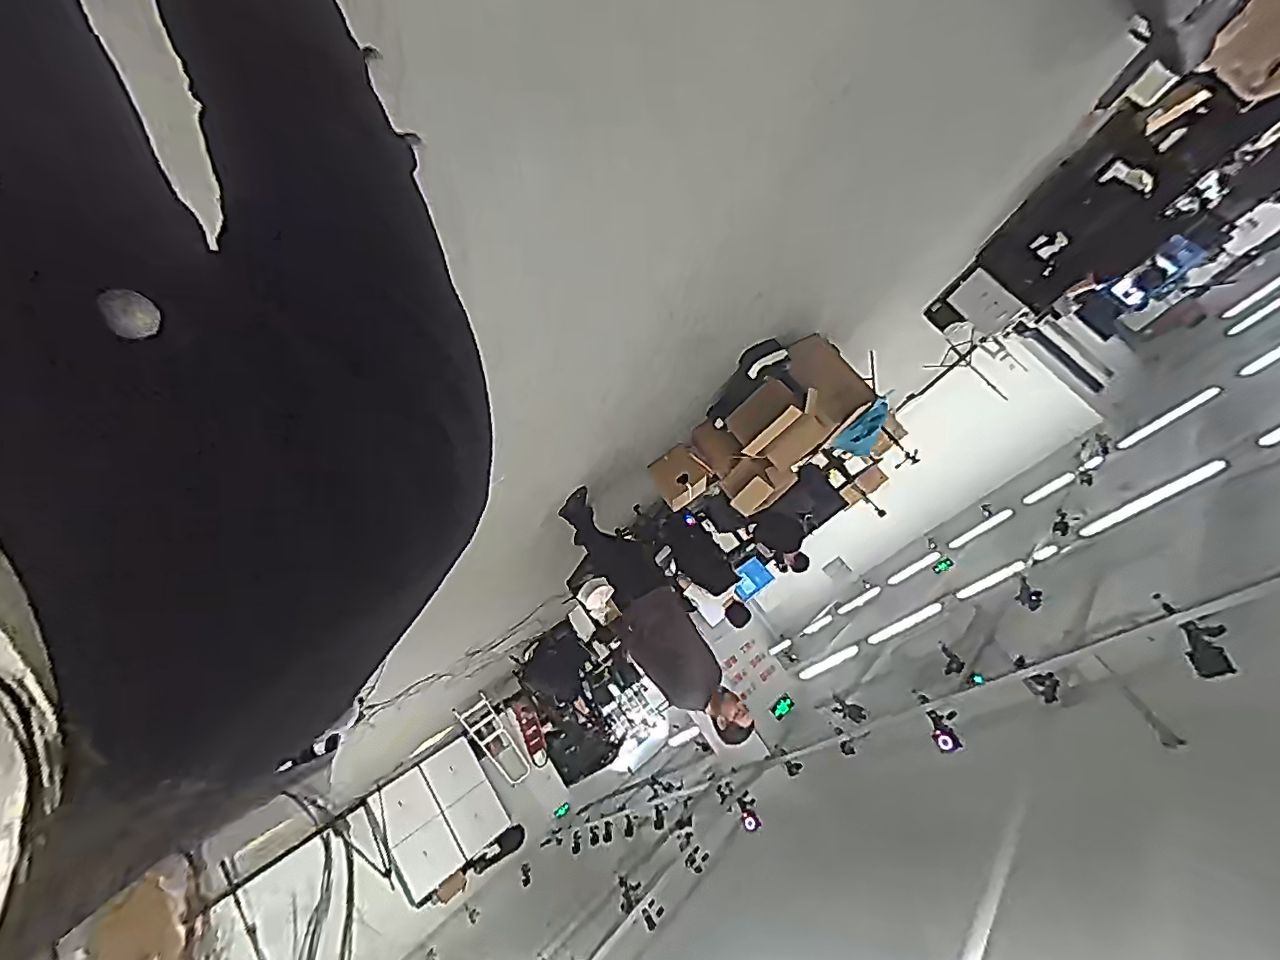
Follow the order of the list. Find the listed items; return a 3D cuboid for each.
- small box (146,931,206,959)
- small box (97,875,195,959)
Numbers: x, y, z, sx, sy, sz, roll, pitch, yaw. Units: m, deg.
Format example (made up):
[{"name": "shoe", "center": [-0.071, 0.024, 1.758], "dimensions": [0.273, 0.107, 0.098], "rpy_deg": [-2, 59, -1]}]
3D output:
[{"name": "small box", "center": [-1.344, 1.430, 1.538], "dimensions": [0.168, 0.176, 0.179], "rpy_deg": [-25, 159, -43]}, {"name": "small box", "center": [-1.437, 1.301, 1.573], "dimensions": [0.179, 0.176, 0.168], "rpy_deg": [-22, 158, -43]}]
